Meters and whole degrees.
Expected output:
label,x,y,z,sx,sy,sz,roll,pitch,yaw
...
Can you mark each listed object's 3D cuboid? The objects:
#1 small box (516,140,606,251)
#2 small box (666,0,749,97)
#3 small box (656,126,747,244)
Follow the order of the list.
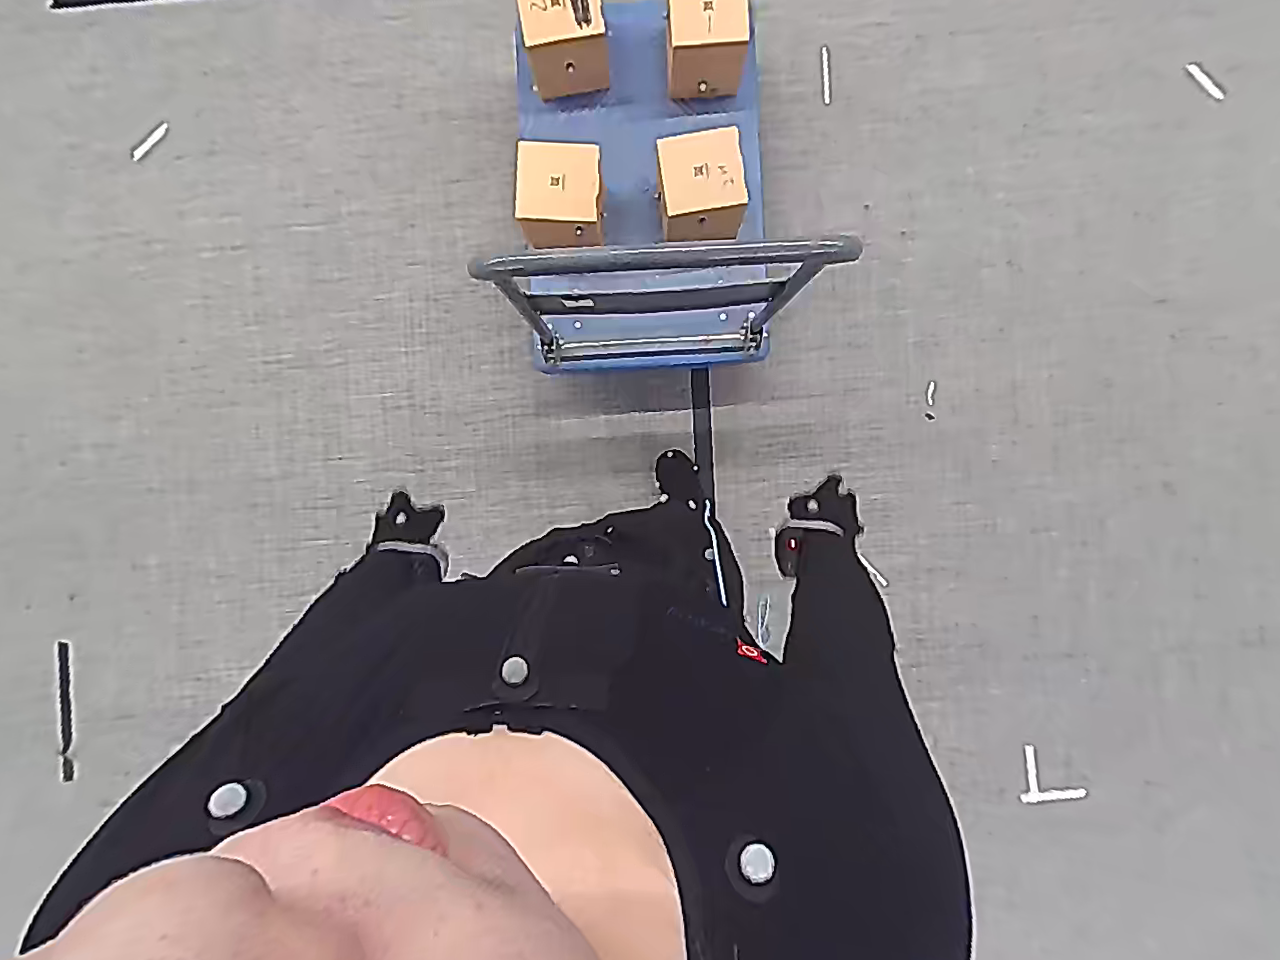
label,x,y,z,sx,sy,sz,roll,pitch,yaw
small box,-0.173,-0.637,1.228,0.179,0.176,0.168,2,91,0
small box,0.146,-1.008,1.215,0.168,0.176,0.179,-3,92,1
small box,0.133,-0.656,1.222,0.179,0.176,0.168,-9,91,1
